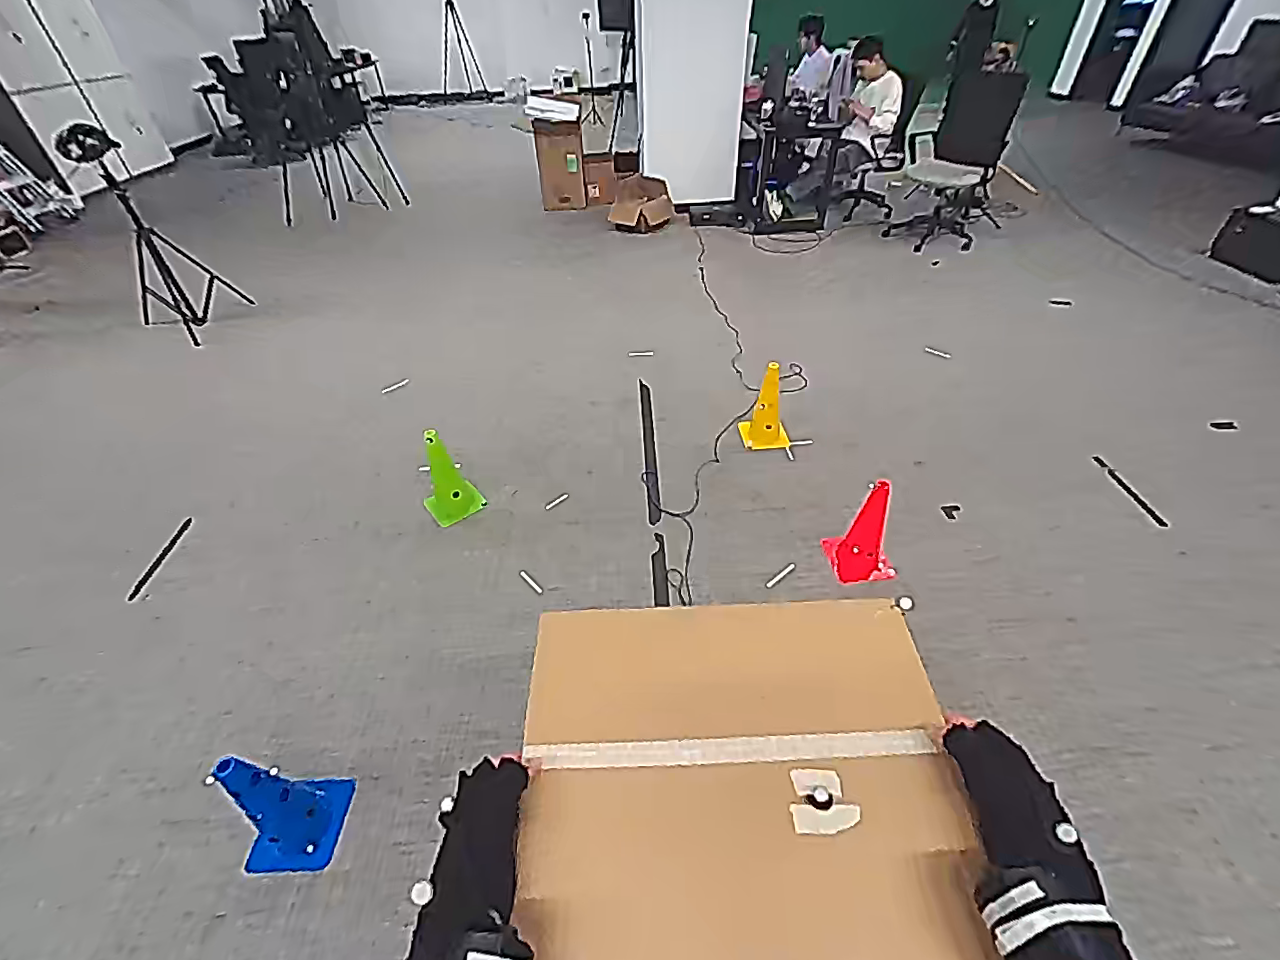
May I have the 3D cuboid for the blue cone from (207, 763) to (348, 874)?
[{"bbox_3d":[-0.845,0.733,1.226,0.192,0.380,0.193,-2,41,2],"label":"blue cone"}]

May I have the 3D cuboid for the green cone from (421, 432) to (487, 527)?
[{"bbox_3d":[-0.751,-0.032,2.054,0.202,0.368,0.200,-32,49,-27],"label":"green cone"}]

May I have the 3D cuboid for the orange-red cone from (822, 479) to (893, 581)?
[{"bbox_3d":[0.752,0.140,1.776,0.198,0.360,0.199,-5,40,-3],"label":"orange-red cone"}]

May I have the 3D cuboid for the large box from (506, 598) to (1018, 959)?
[{"bbox_3d":[0.093,0.360,0.620,0.408,0.320,0.320,-2,46,1],"label":"large box"}]
